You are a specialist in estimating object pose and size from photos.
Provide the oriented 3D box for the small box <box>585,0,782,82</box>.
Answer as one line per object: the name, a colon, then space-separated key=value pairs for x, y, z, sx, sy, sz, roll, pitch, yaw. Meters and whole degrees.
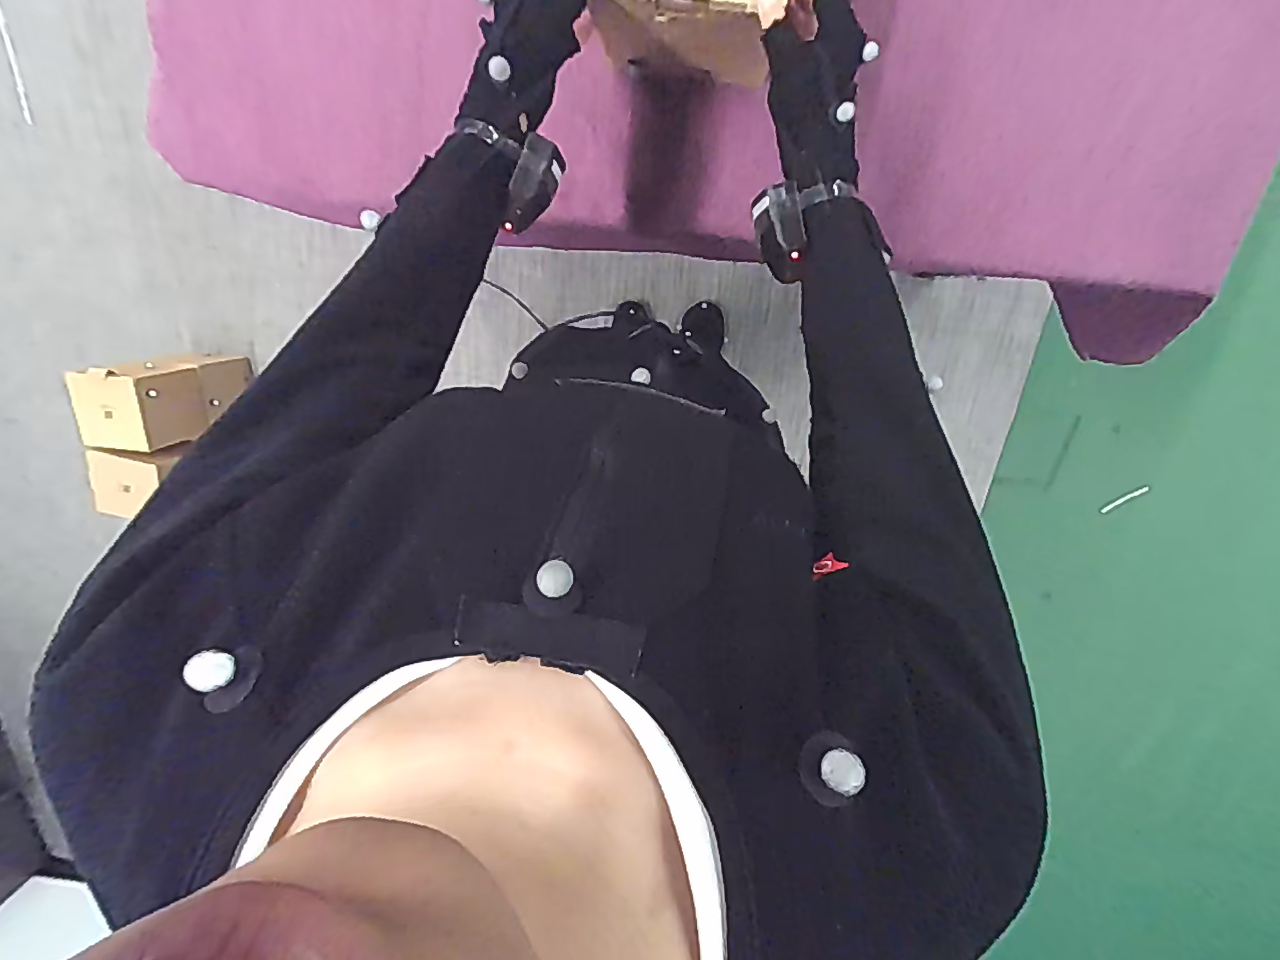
small box: x=0.052 y=-0.488 z=0.480 sx=0.168 sy=0.176 sz=0.179 roll=9 pitch=109 yaw=2
